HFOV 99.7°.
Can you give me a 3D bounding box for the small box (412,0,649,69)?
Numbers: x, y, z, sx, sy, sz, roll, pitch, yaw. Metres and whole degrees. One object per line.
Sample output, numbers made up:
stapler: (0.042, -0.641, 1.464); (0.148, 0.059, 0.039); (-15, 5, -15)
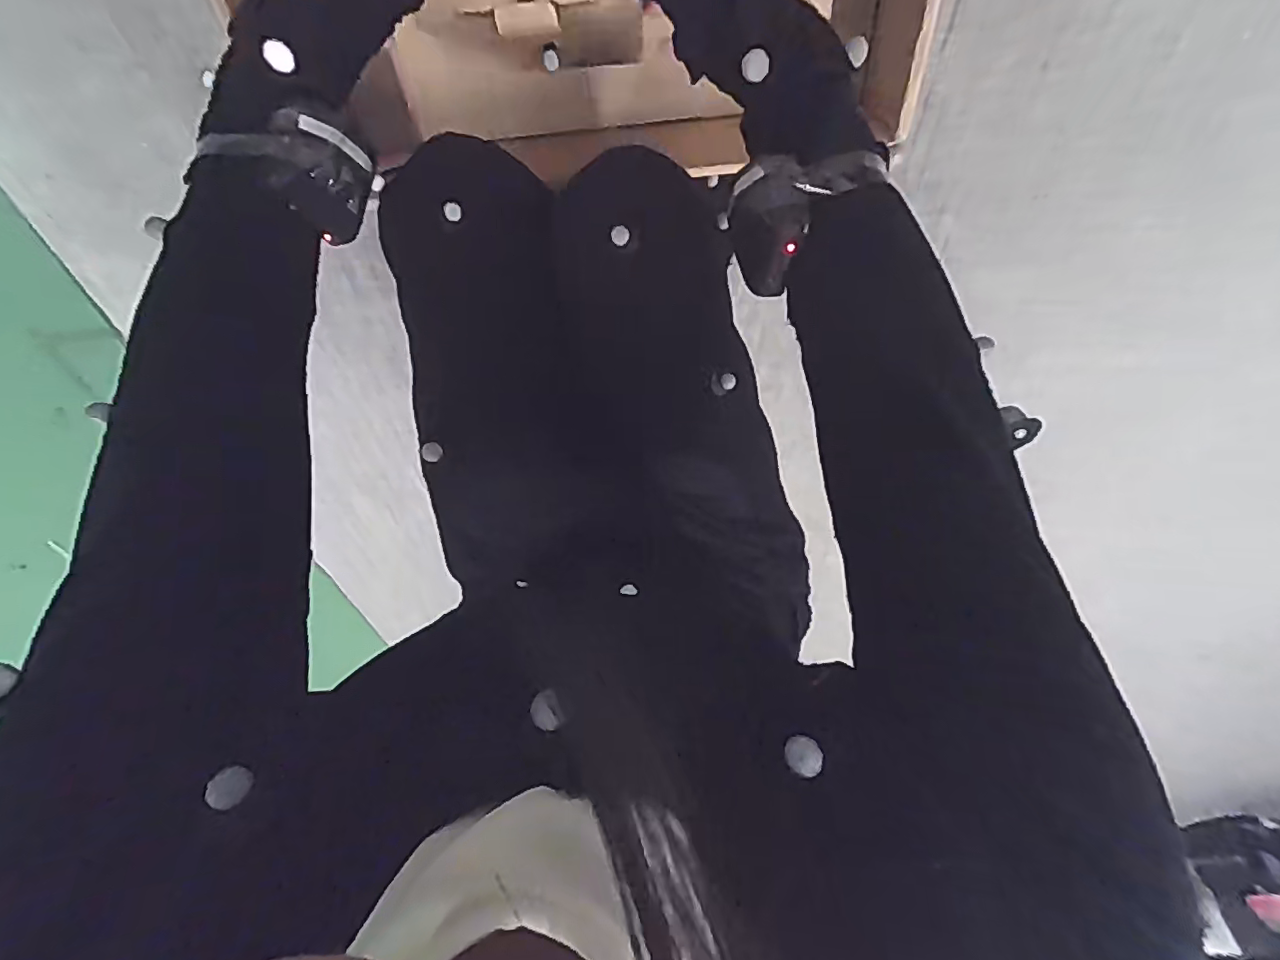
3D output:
small box: (-0.081, -0.442, 0.419); (0.168, 0.176, 0.179); (-2, 115, 4)
